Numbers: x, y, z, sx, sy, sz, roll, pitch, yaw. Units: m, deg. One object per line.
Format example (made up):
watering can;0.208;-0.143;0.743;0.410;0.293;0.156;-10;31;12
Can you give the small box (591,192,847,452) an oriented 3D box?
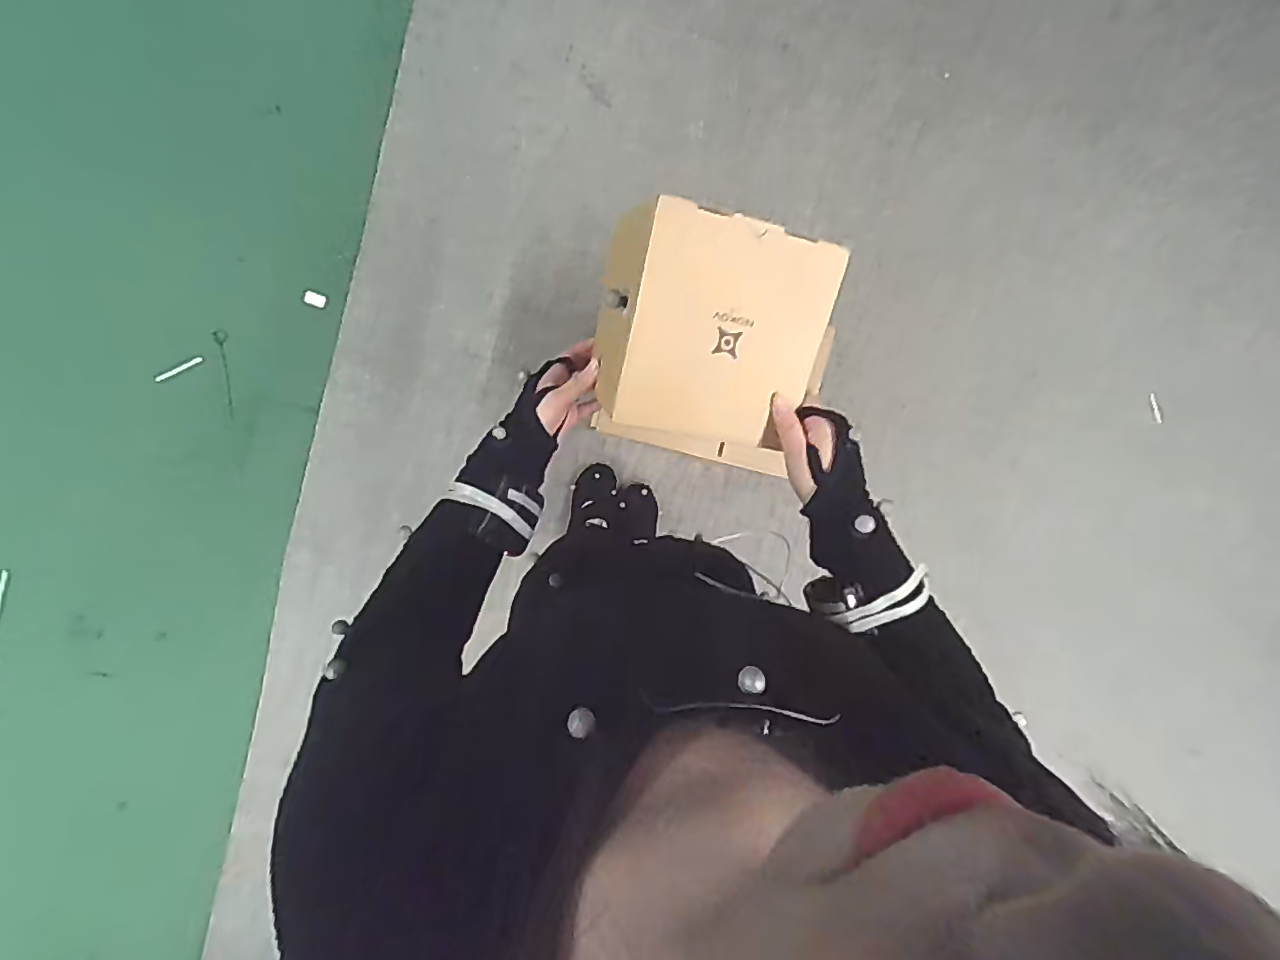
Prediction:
small box;0.053;-0.144;0.507;0.168;0.176;0.179;8;109;-16
